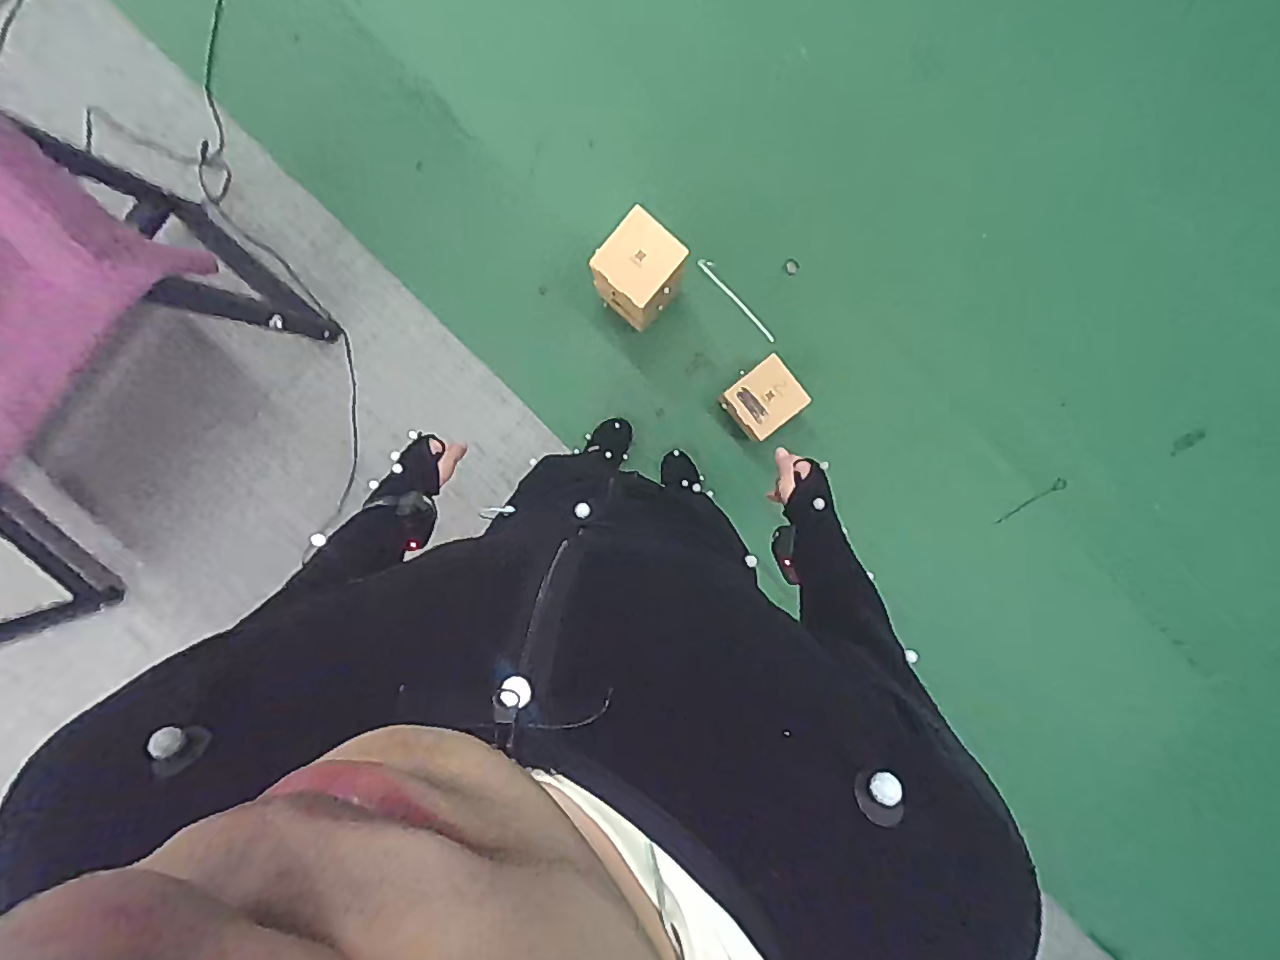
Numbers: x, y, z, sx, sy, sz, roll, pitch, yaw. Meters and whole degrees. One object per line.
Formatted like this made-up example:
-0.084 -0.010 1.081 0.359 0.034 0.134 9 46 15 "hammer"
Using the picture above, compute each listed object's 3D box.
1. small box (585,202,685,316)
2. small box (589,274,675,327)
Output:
-0.012 -0.532 1.328 0.168 0.176 0.179 41 96 -3 "small box"
-0.016 -0.547 1.490 0.168 0.176 0.179 42 95 -3 "small box"
